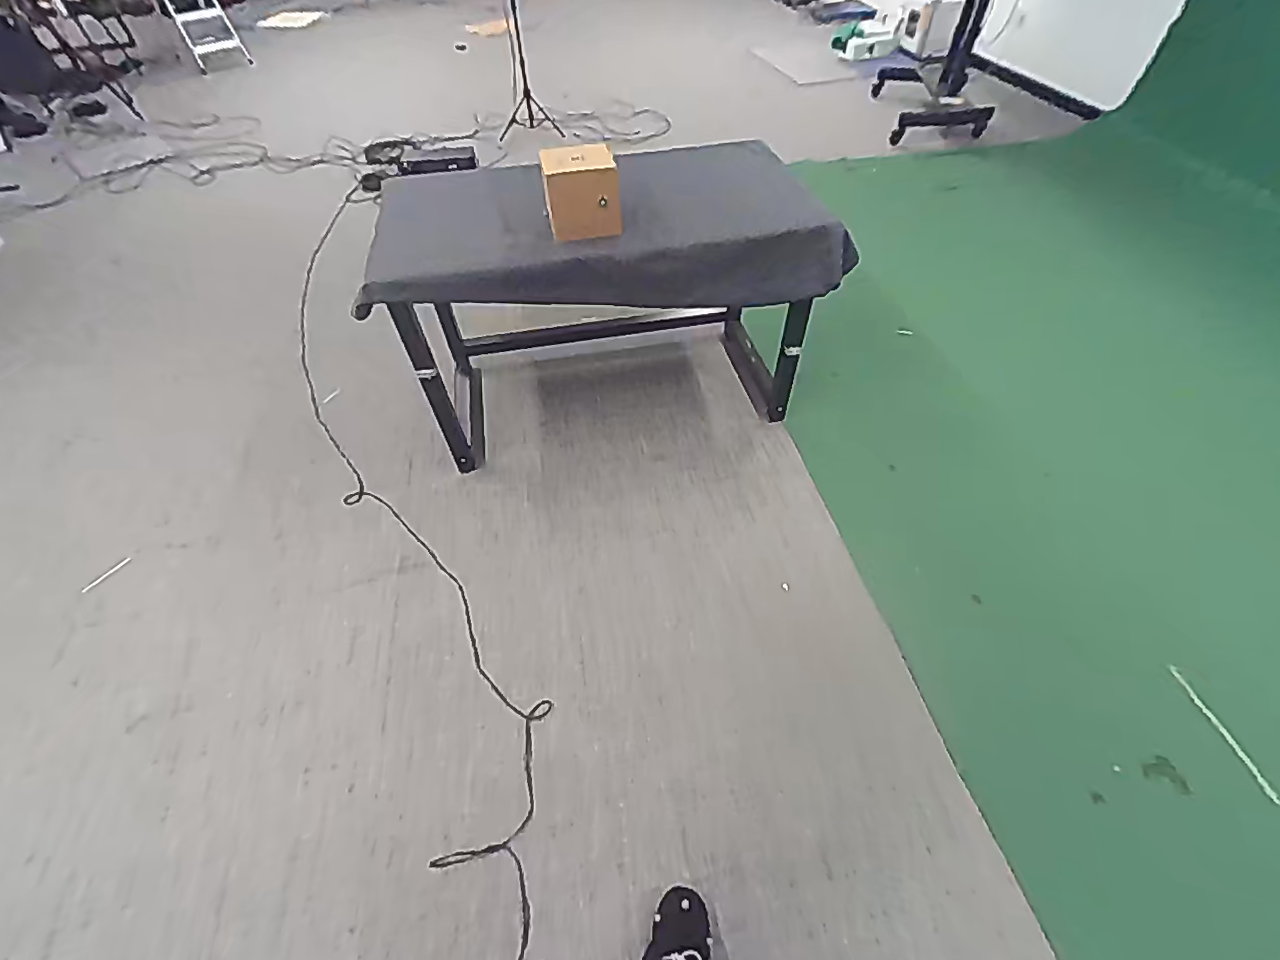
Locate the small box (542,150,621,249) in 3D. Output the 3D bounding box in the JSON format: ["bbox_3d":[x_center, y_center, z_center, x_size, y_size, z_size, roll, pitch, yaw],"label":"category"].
[{"bbox_3d":[-0.147,-0.721,1.393,0.179,0.176,0.168,-12,49,-6],"label":"small box"}]
